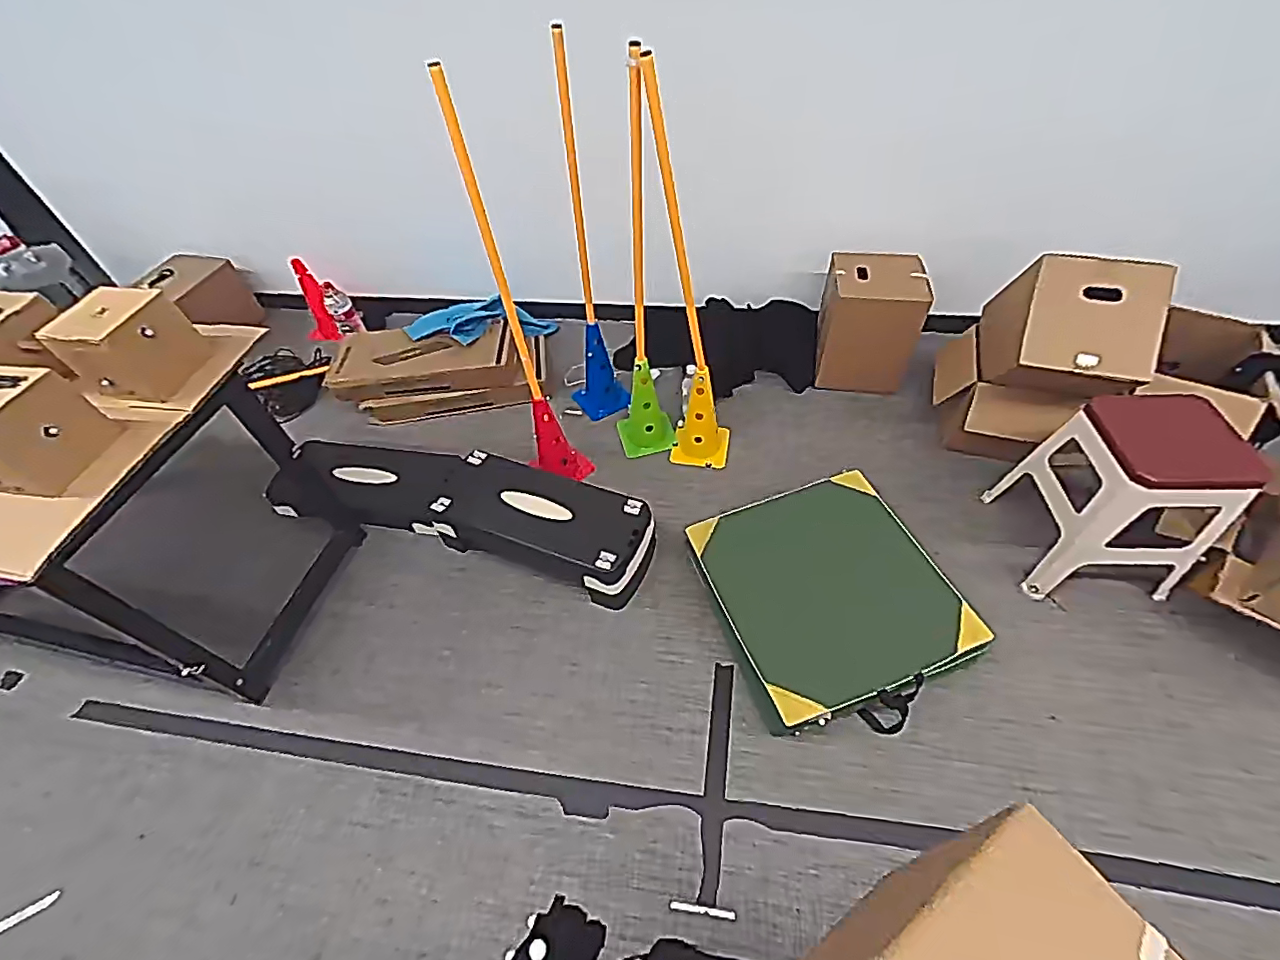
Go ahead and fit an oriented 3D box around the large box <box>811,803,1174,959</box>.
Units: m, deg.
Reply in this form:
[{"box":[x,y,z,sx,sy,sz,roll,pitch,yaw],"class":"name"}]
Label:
[{"box":[0.426,0.696,0.677,0.320,0.408,0.320,-18,49,-28],"class":"large box"}]
